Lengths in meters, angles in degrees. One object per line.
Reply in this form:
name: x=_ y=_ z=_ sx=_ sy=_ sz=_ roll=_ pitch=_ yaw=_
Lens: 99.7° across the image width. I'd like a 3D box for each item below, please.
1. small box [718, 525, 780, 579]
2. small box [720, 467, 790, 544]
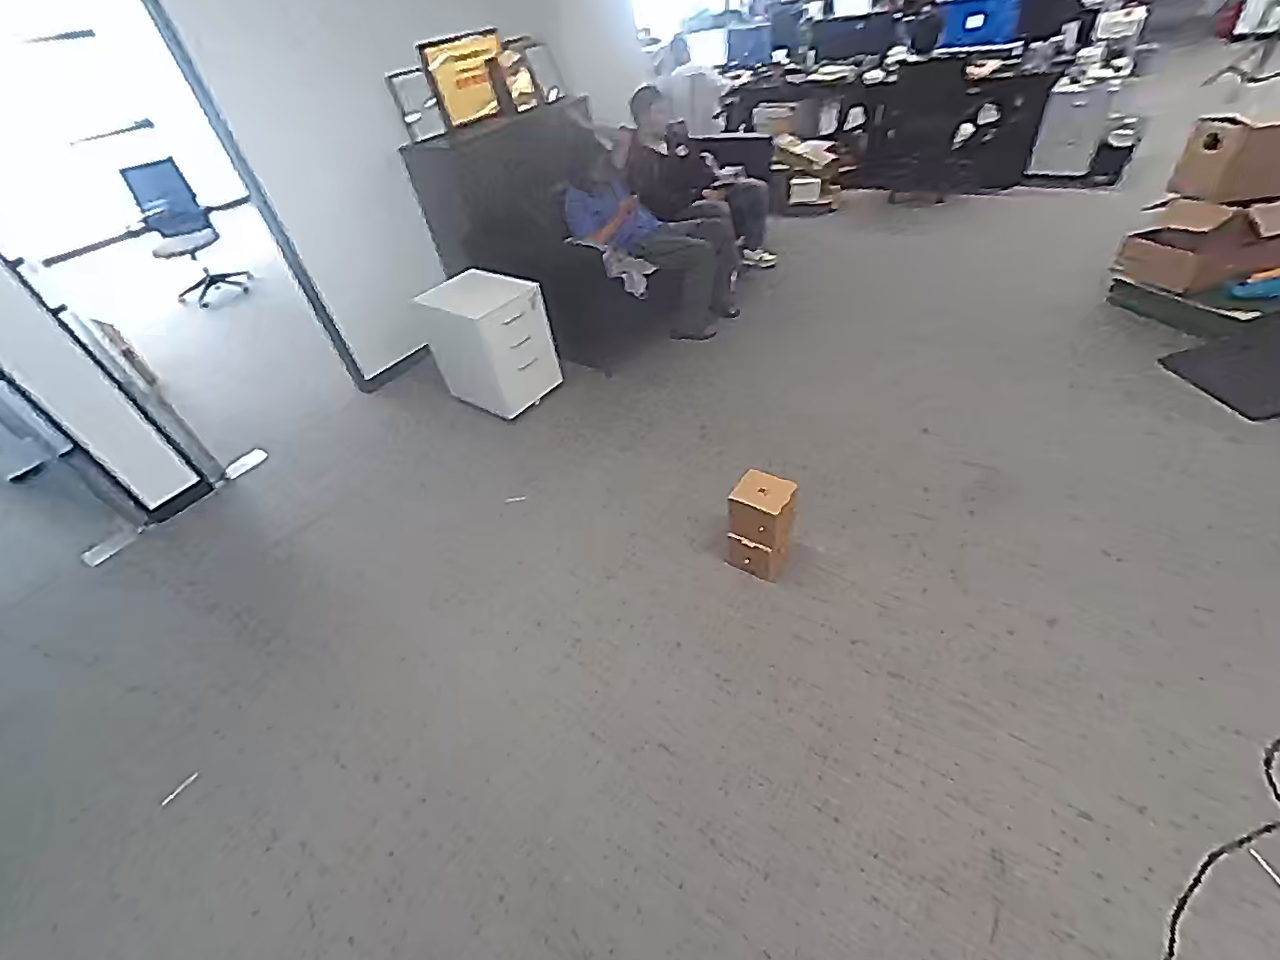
small box: x=0.398 y=0.224 z=1.945 sx=0.168 sy=0.176 sz=0.179 roll=19 pitch=48 yaw=29
small box: x=0.386 y=0.089 z=1.824 sx=0.179 sy=0.176 sz=0.168 roll=20 pitch=48 yaw=30
